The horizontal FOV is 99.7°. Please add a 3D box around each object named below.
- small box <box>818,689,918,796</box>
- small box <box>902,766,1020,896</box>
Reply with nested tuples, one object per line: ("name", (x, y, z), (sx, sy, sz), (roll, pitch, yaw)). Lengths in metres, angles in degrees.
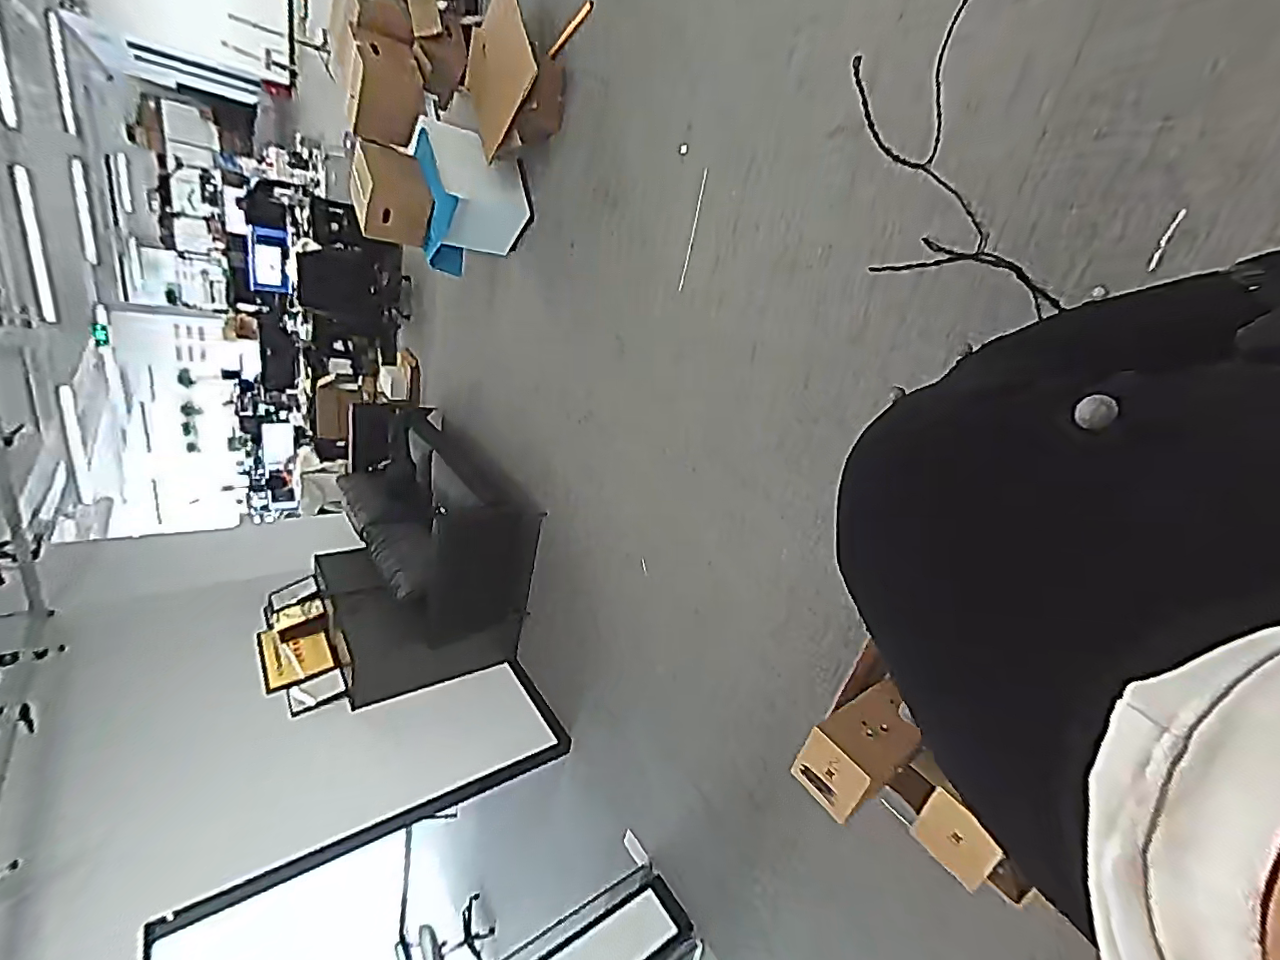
("small box", (0.630, 0.715, 1.489), (0.168, 0.176, 0.179), (37, 121, 41))
("small box", (0.782, 0.837, 1.311), (0.168, 0.176, 0.179), (37, 122, 43))
